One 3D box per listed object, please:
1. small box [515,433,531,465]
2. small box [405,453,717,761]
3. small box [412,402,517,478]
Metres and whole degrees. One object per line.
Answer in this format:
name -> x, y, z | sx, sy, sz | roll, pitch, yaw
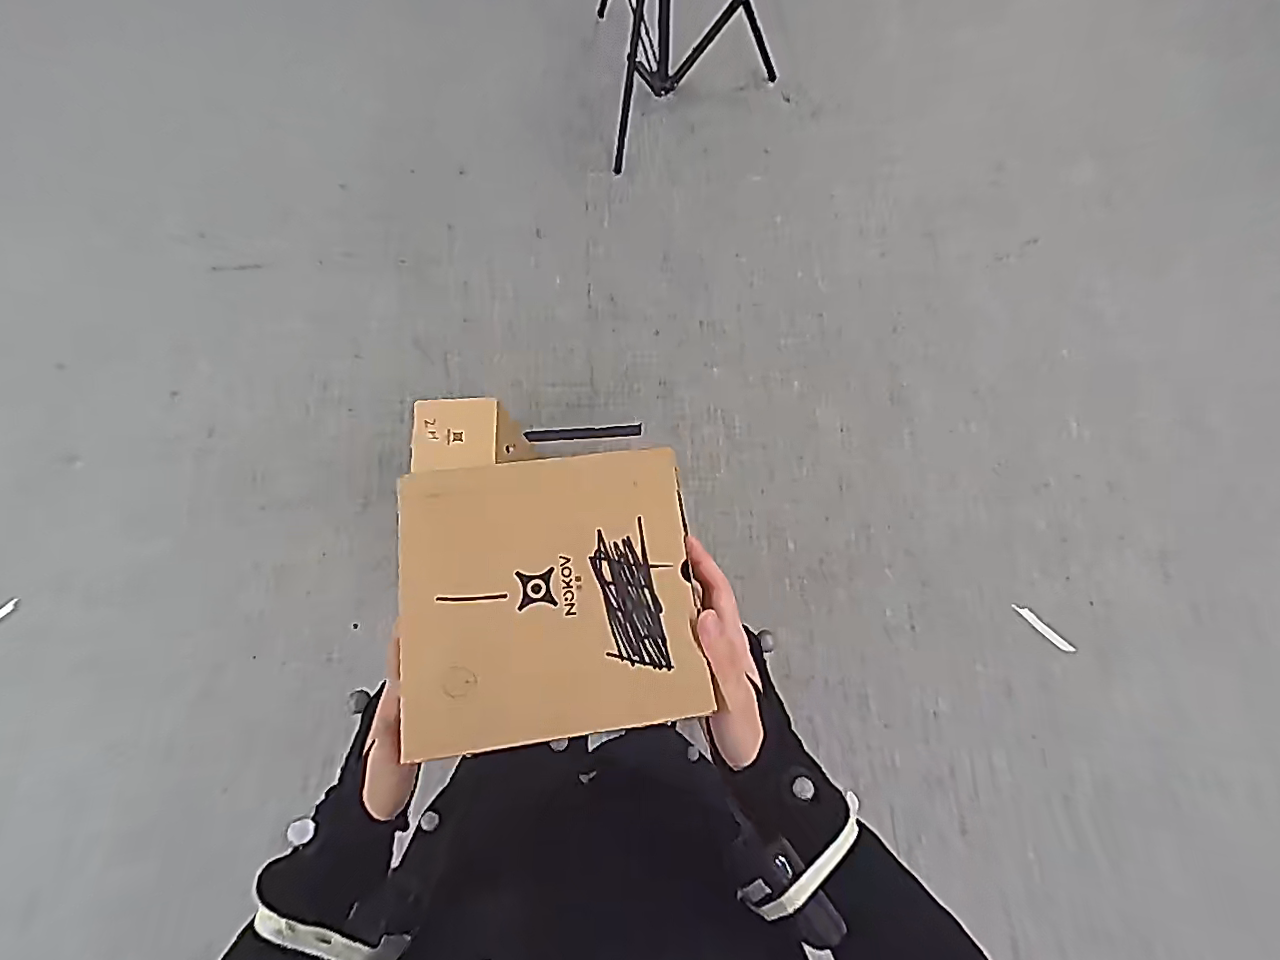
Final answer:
small box -> -0.370, -0.021, 1.340 | 0.168, 0.176, 0.179 | -2, 78, 1
small box -> -0.057, 0.090, 0.399 | 0.179, 0.176, 0.168 | -6, 72, -6
small box -> -0.372, -0.061, 1.178 | 0.179, 0.176, 0.168 | -2, 76, 1
